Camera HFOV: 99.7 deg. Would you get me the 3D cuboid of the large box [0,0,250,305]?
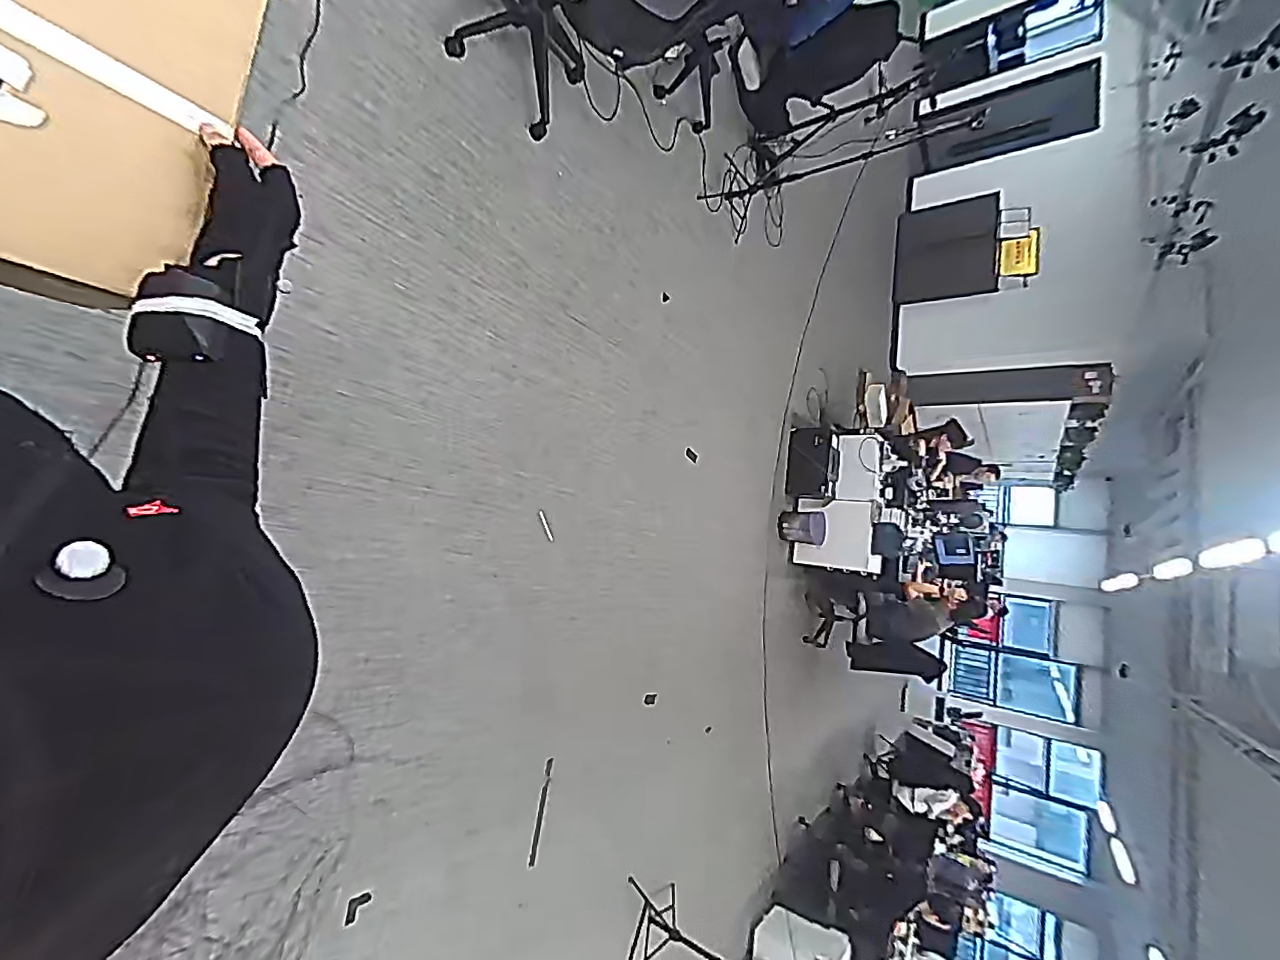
[{"bbox_3d":[-0.600,-0.350,0.389,0.408,0.320,0.320,13,91,-58],"label":"large box"}]
